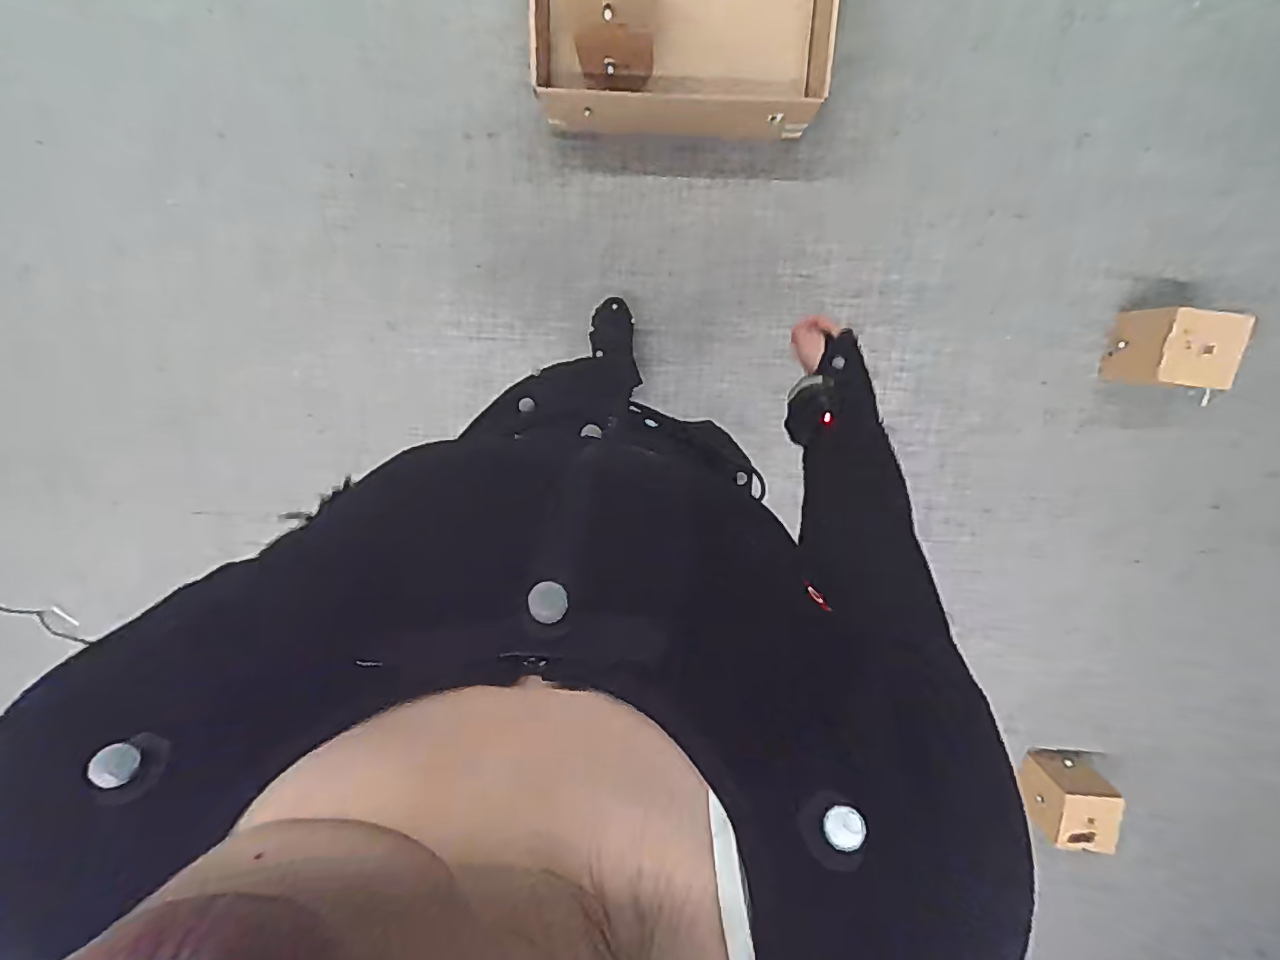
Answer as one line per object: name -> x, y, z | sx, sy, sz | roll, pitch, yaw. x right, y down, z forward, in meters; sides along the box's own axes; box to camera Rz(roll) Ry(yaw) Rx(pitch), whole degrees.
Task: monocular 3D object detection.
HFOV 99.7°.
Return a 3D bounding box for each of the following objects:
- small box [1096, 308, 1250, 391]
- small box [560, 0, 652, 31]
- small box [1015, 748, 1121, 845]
small box -> 1.266, -0.313, 1.299 | 0.179, 0.176, 0.168 | 7, 102, 0
small box -> -0.063, -0.939, 0.961 | 0.168, 0.176, 0.179 | -1, 104, 1
small box -> 1.244, 0.925, 1.587 | 0.168, 0.176, 0.179 | 3, 102, 1
